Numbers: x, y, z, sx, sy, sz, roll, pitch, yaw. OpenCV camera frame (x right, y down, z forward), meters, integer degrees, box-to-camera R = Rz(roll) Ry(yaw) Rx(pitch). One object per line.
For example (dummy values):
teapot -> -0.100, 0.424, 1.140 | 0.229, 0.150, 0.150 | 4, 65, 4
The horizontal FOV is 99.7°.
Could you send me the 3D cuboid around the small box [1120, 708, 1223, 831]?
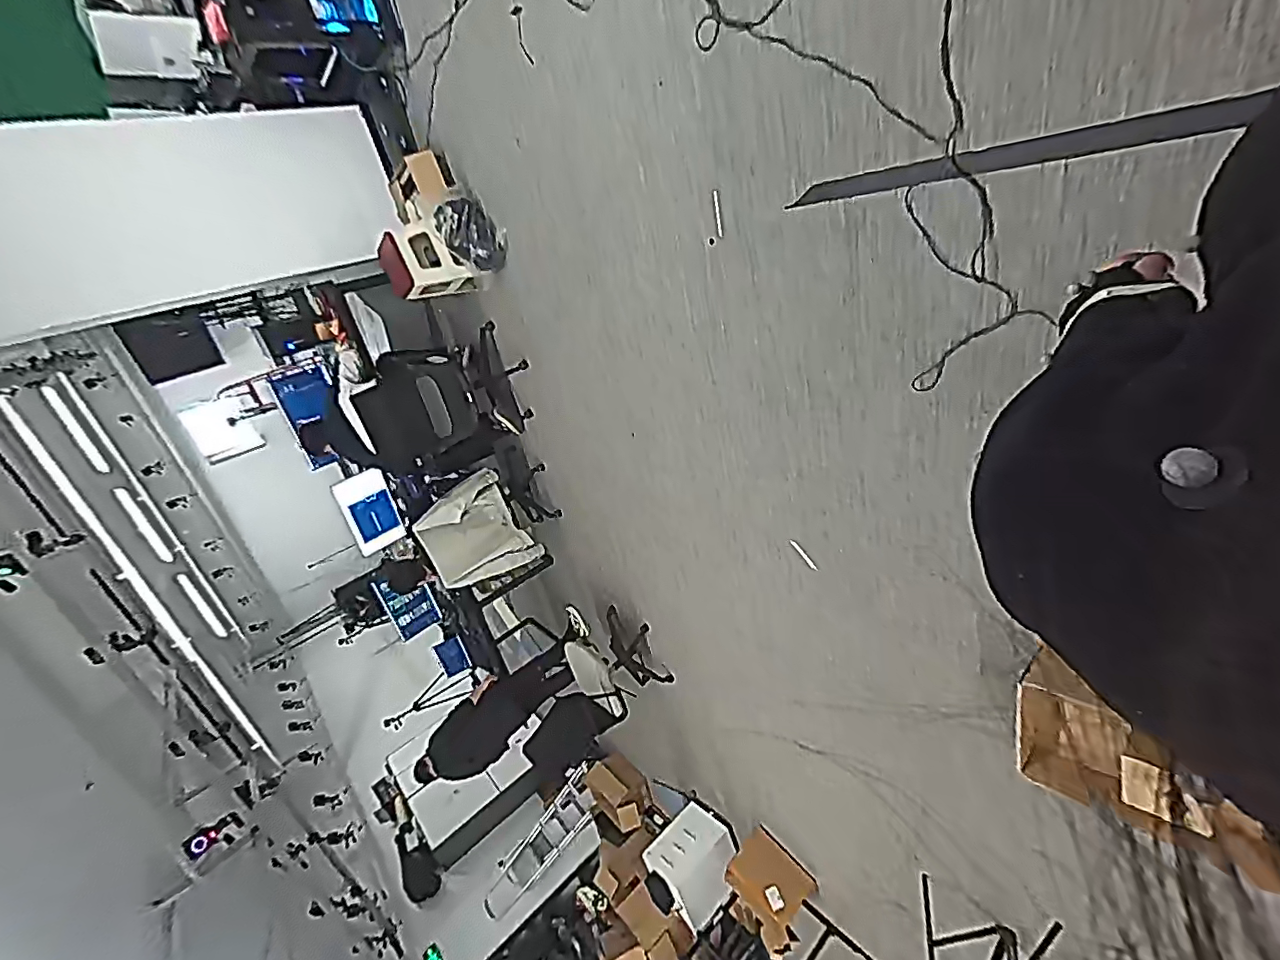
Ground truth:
small box -> 1.348, 0.725, 1.372 | 0.168, 0.176, 0.179 | 5, 120, 52
